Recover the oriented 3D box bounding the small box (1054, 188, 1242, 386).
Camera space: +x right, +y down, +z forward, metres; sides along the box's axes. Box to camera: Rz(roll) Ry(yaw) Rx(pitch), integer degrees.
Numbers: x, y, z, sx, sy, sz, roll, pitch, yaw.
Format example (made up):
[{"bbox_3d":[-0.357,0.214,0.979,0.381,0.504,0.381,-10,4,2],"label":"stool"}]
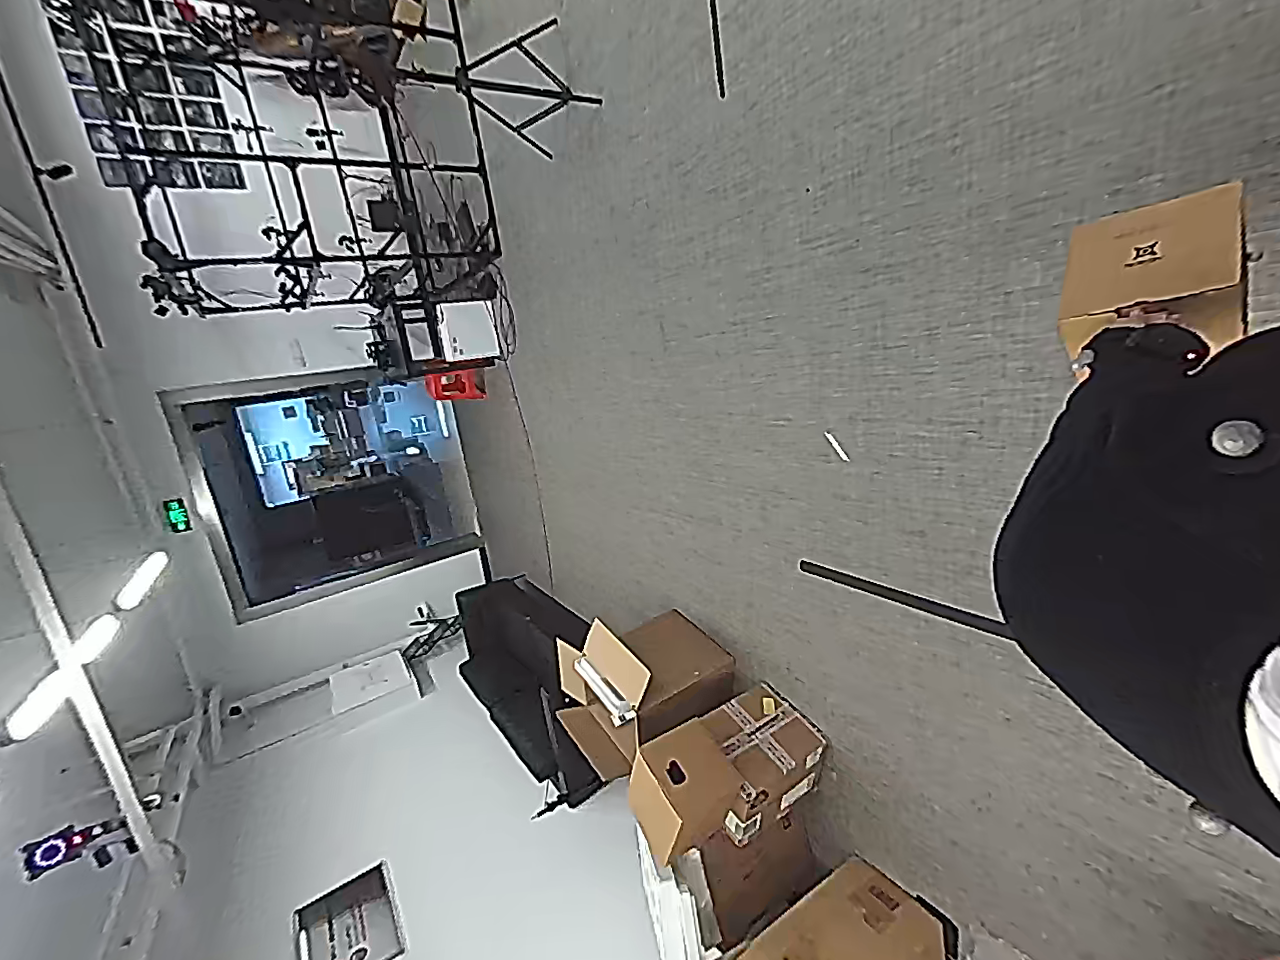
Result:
[{"bbox_3d":[0.693,-0.243,0.735,0.168,0.179,0.176,0,148,49],"label":"small box"}]
